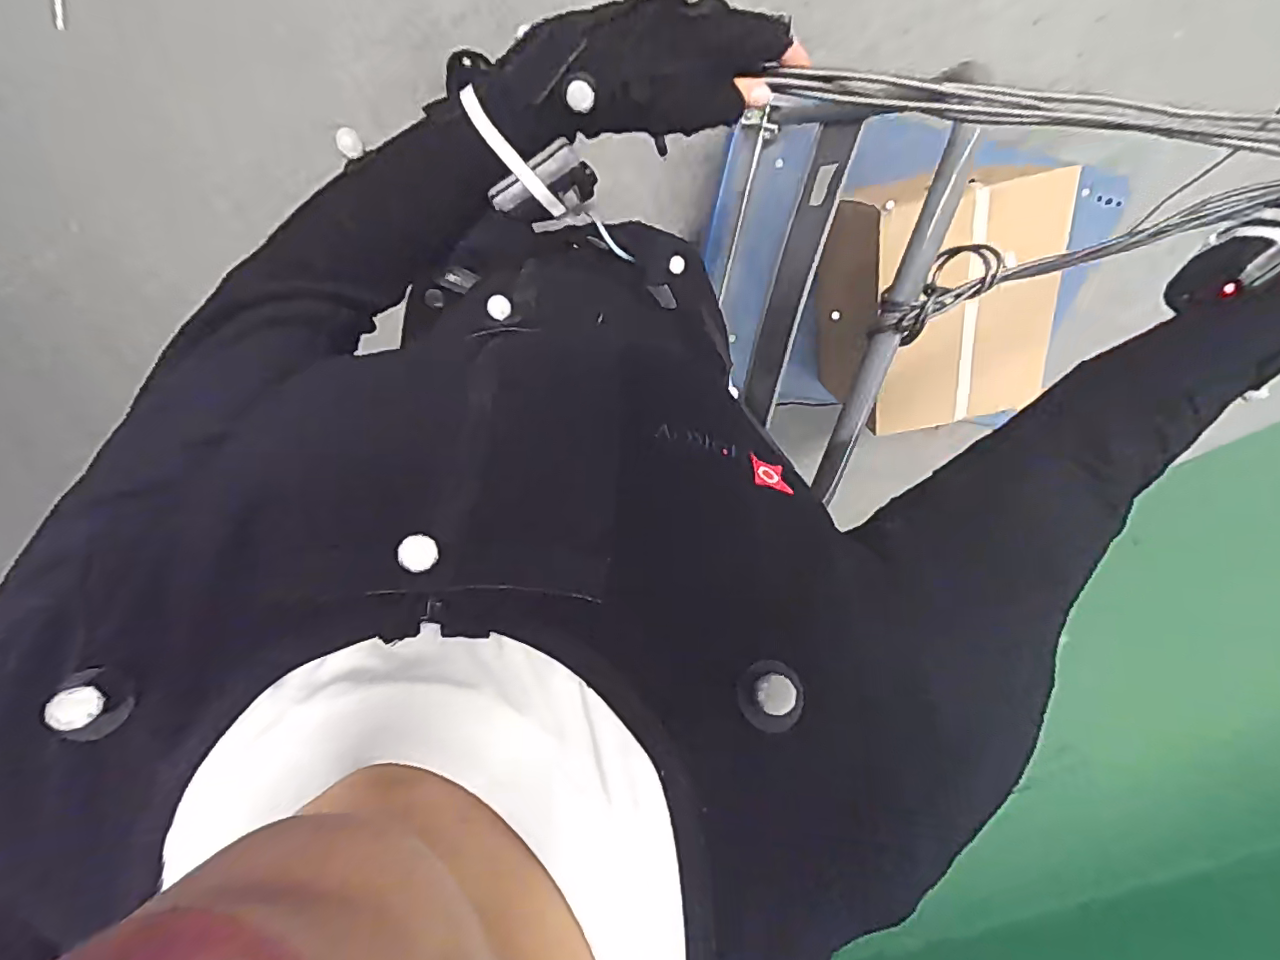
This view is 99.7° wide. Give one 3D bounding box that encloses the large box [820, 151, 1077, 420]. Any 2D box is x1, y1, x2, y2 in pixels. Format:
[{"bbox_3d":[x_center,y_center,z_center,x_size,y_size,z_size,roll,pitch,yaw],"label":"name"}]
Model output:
[{"bbox_3d":[0.560,-0.384,1.068,0.320,0.320,0.408,-12,120,2],"label":"large box"}]
